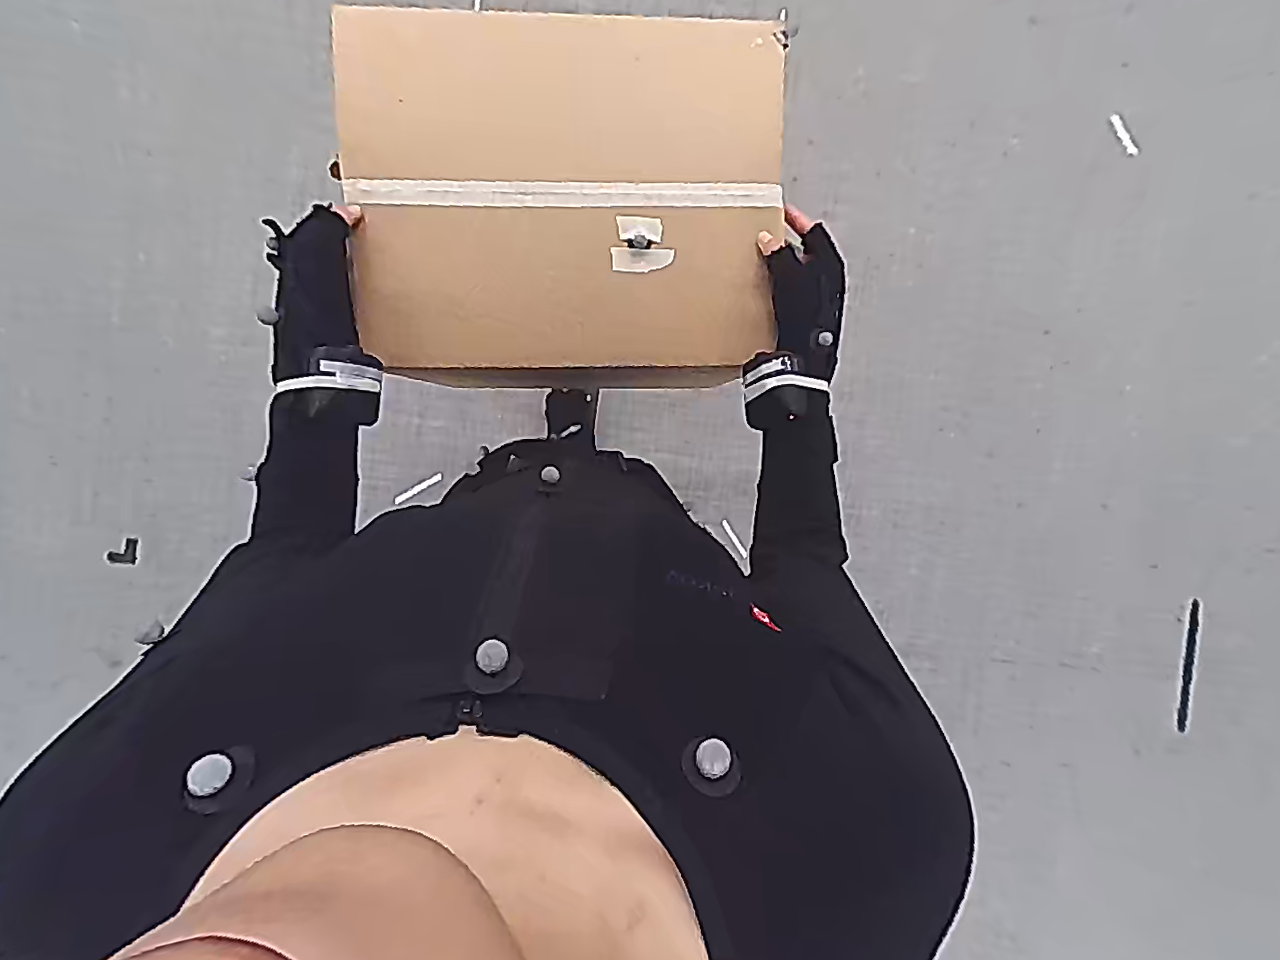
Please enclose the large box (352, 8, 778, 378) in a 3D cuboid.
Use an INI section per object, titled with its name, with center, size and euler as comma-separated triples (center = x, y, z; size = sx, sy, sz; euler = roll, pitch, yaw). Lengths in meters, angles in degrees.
[large box]
center = -0.074, -0.299, 0.667
size = 0.408, 0.320, 0.320
euler = -1, 97, -4
